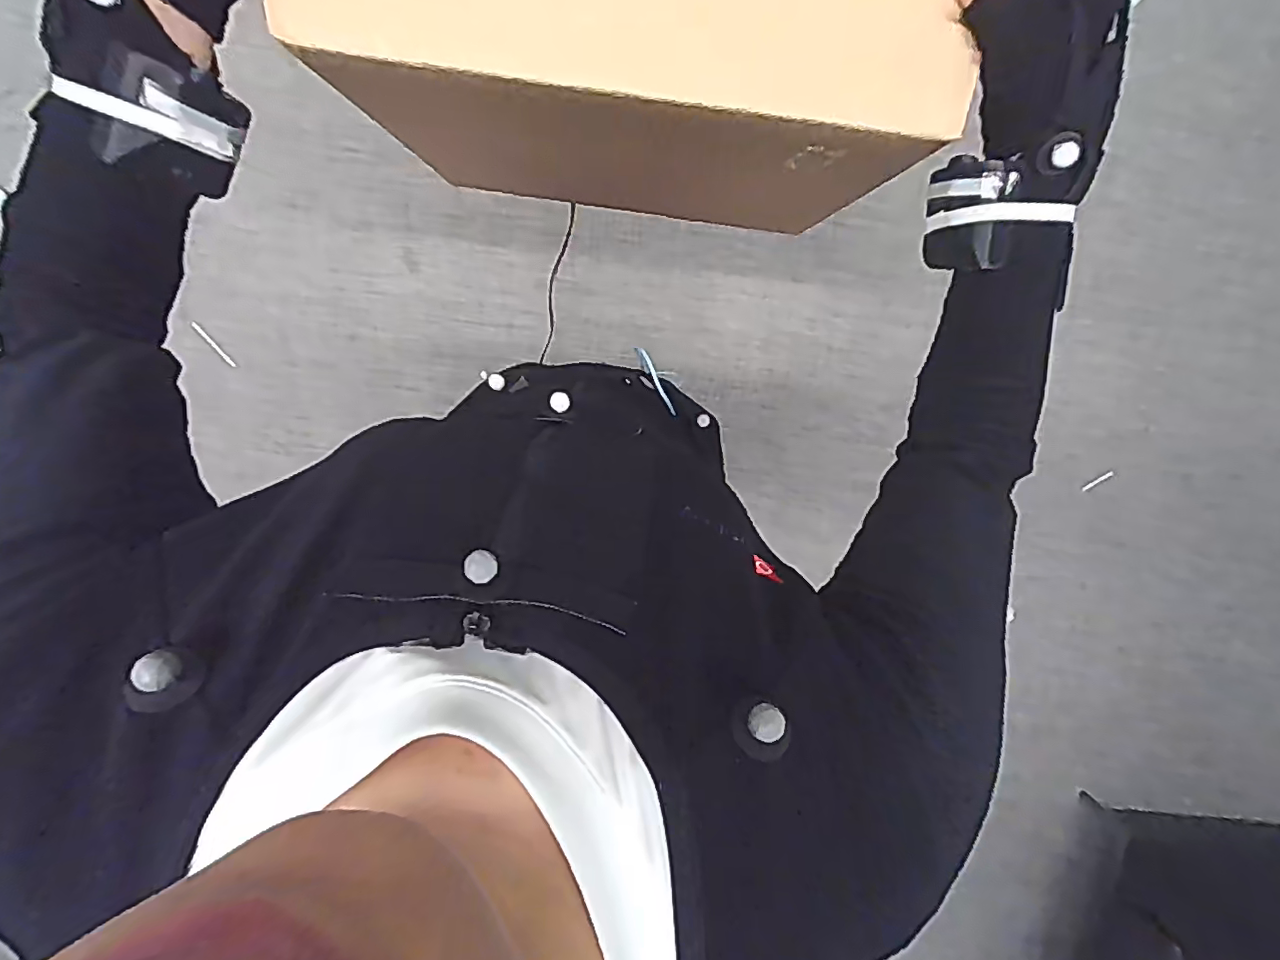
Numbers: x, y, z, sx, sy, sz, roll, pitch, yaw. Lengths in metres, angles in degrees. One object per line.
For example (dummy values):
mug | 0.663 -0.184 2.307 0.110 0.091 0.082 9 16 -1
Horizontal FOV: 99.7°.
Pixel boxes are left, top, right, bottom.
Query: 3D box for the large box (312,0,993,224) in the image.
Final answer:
large box | 0.015 -0.419 0.432 0.408 0.320 0.320 6 105 -4
